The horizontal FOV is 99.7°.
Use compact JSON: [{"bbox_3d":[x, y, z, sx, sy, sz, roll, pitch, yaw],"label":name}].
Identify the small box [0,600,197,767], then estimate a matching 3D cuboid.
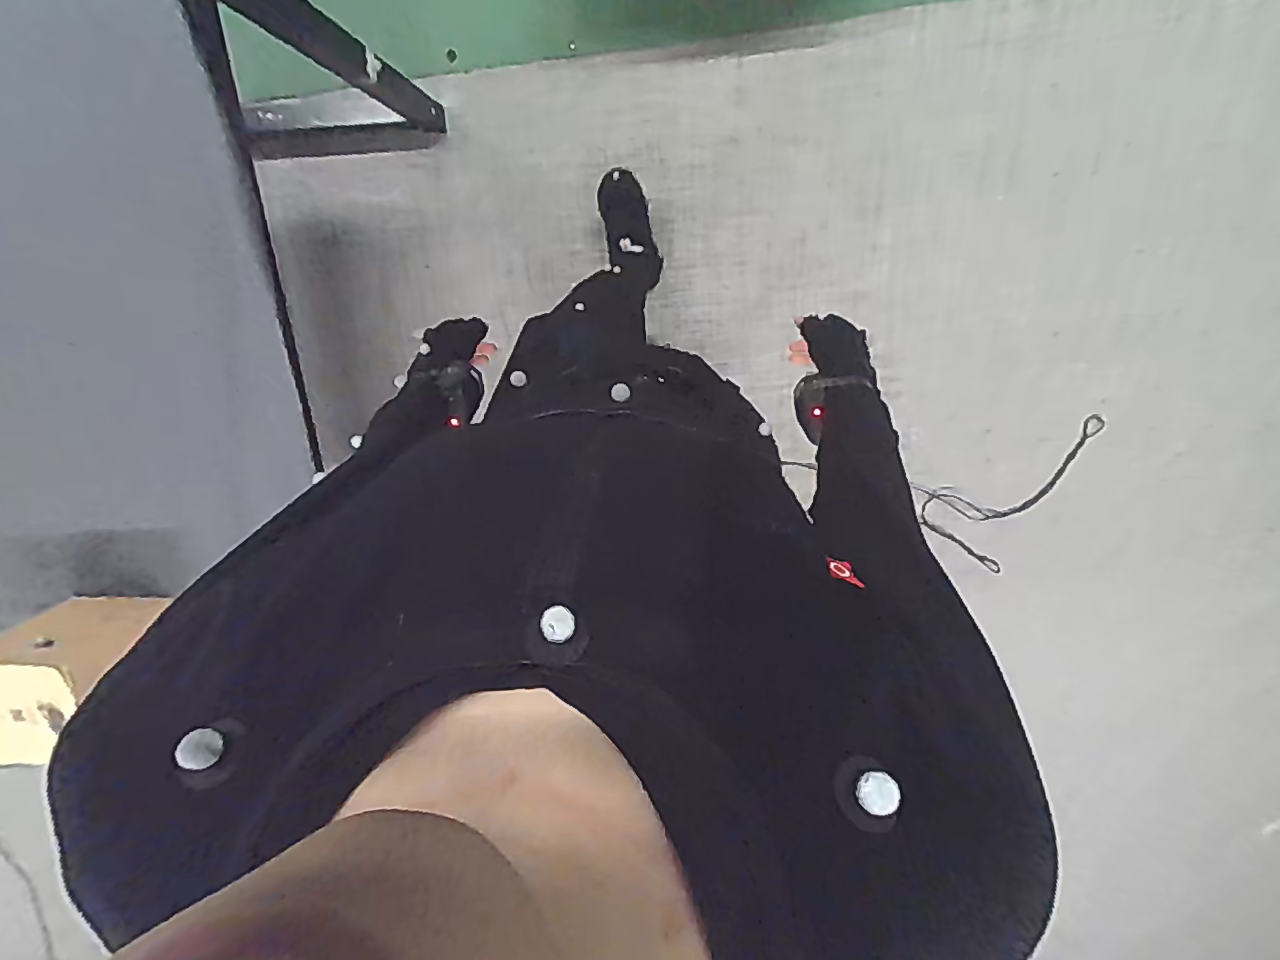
[{"bbox_3d":[-0.807,0.290,0.798,0.179,0.176,0.168,0,108,5],"label":"small box"}]
